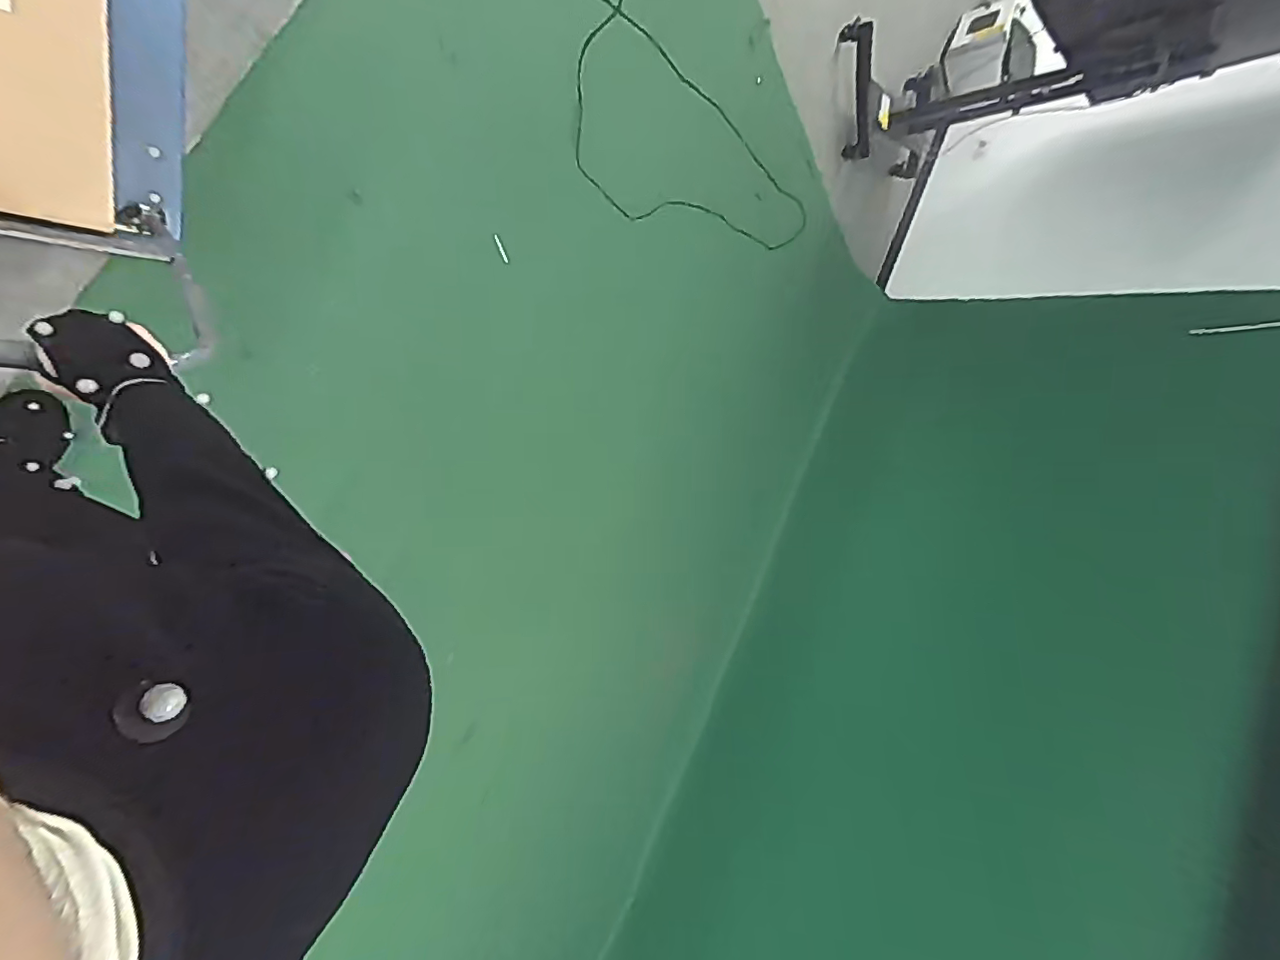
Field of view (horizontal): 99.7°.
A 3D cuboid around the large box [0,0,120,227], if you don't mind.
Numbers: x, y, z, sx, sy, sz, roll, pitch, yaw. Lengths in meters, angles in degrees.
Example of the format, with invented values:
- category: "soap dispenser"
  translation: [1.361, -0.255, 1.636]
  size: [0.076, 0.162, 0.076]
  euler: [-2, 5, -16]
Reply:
- category: "large box"
  translation: [-0.945, -0.608, 0.734]
  size: [0.320, 0.320, 0.408]
  euler: [-5, 118, -47]
